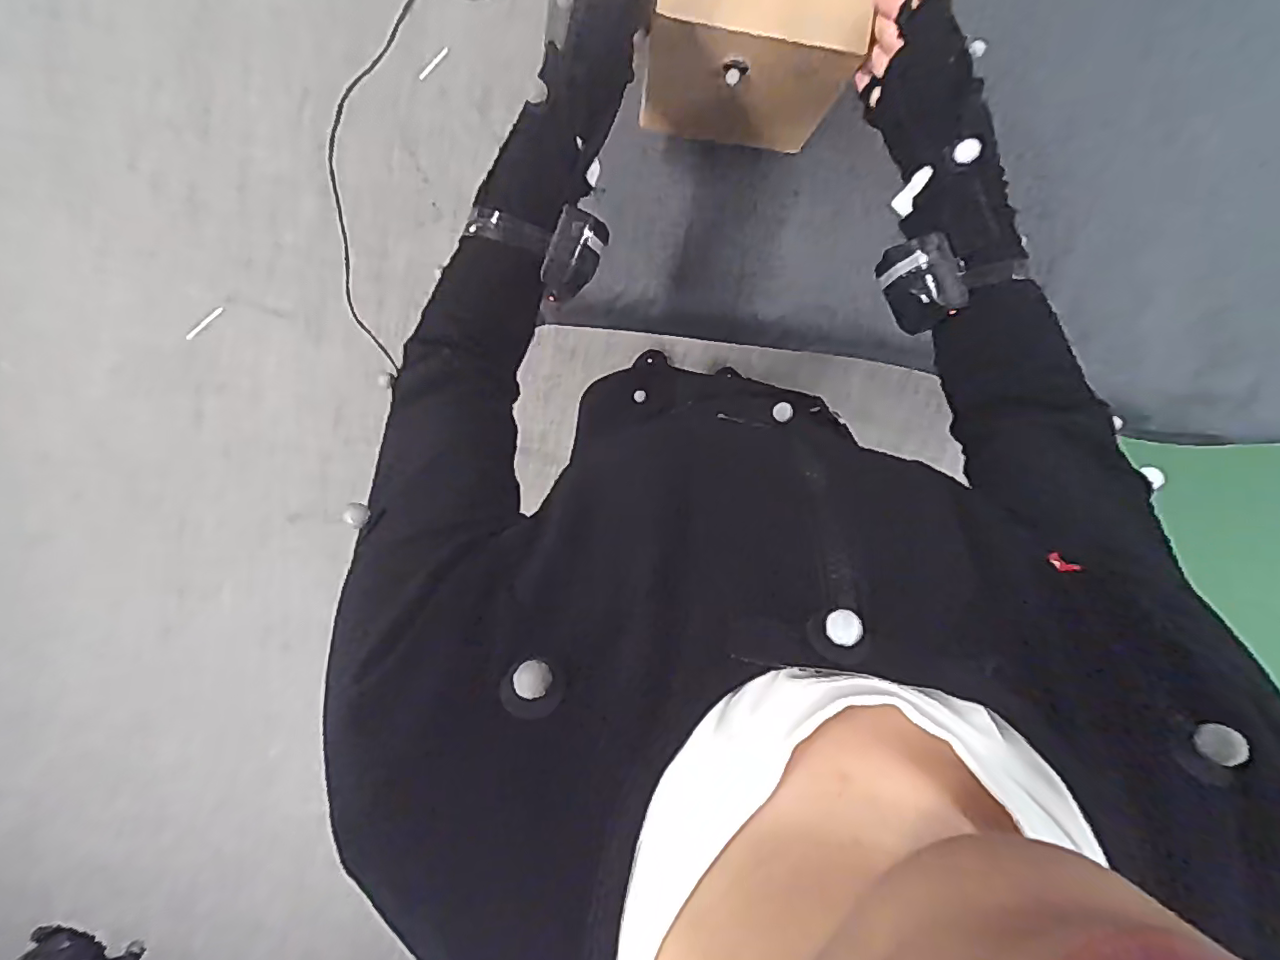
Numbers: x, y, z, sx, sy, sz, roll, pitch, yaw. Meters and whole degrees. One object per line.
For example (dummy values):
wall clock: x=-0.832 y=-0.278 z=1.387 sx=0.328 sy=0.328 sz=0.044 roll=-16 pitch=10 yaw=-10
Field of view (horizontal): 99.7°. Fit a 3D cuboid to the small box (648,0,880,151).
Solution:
small box: x=0.105 y=-0.434 z=0.496 sx=0.179 sy=0.176 sz=0.168 roll=6 pitch=96 yaw=-4
